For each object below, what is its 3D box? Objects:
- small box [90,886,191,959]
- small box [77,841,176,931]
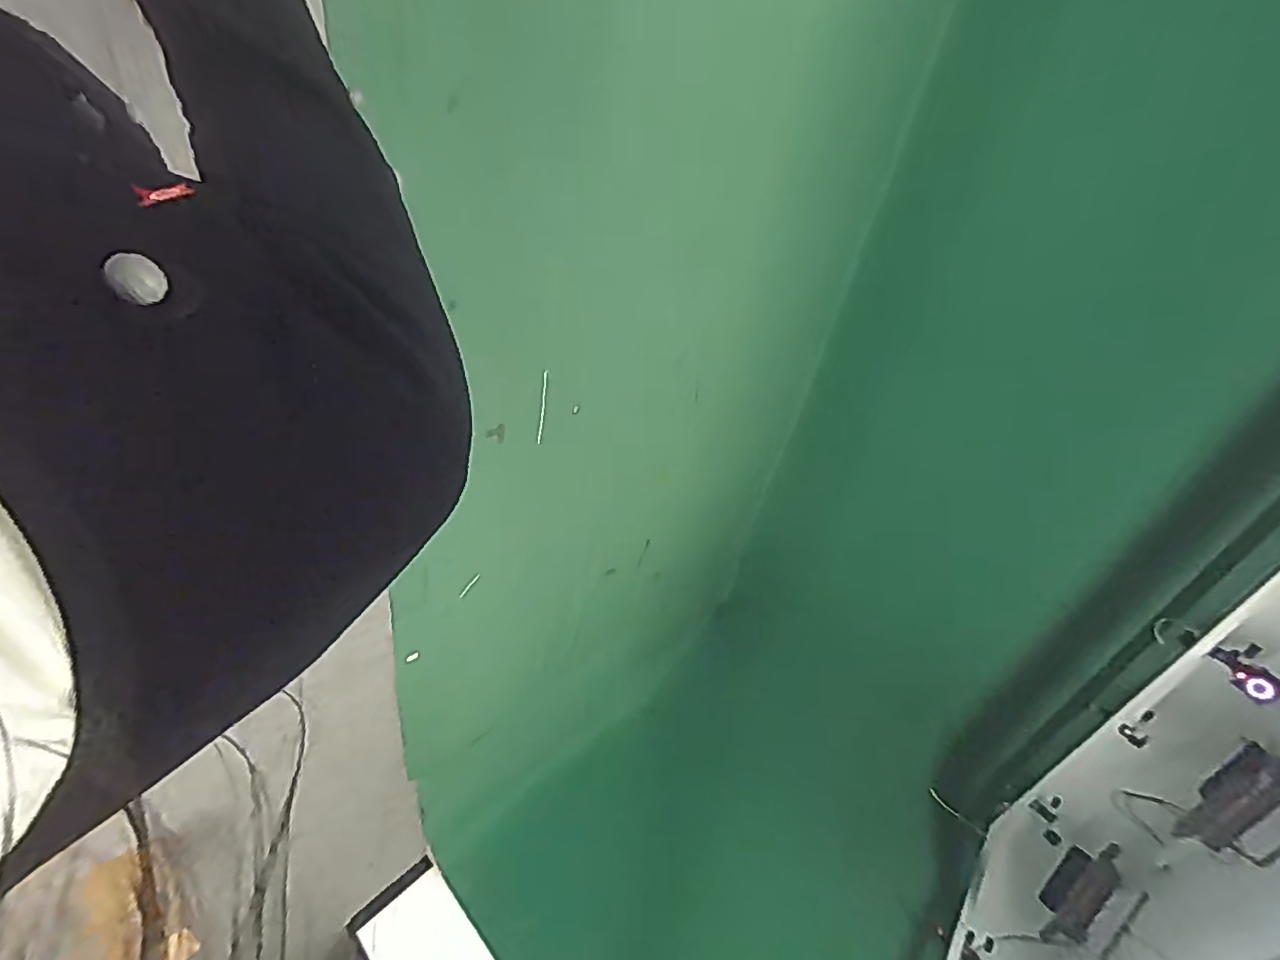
[{"bbox_3d":[-1.480,1.364,1.606,0.168,0.176,0.179,-26,138,-44],"label":"small box"},{"bbox_3d":[-1.596,1.279,1.681,0.179,0.176,0.168,-22,136,-44],"label":"small box"}]
